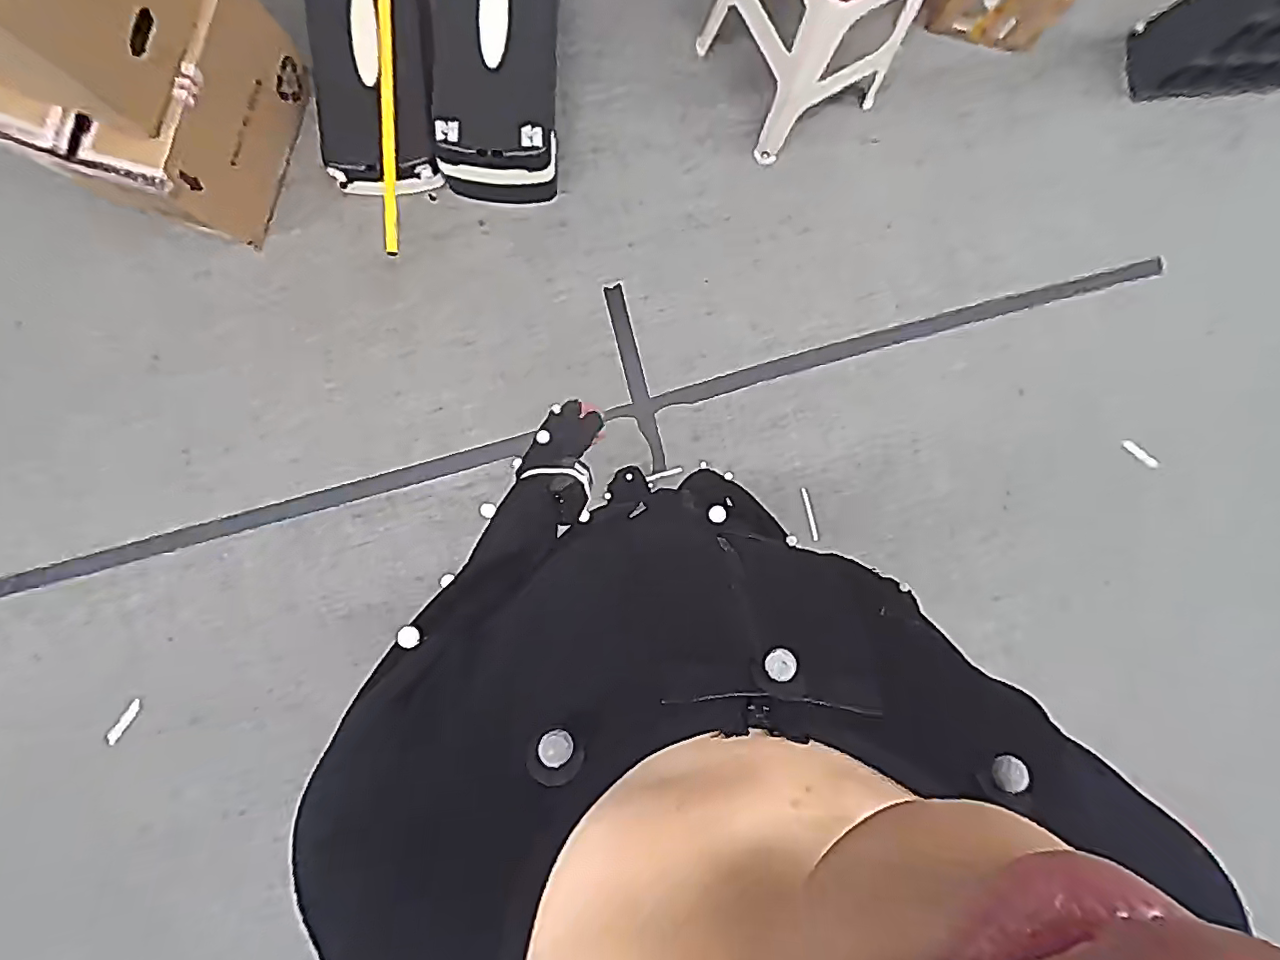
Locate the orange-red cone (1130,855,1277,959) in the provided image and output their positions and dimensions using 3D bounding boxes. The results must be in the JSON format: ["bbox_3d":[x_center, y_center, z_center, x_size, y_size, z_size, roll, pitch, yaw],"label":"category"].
[{"bbox_3d":[1.558,1.215,1.414,0.198,0.360,0.199,-19,90,-4],"label":"orange-red cone"}]
